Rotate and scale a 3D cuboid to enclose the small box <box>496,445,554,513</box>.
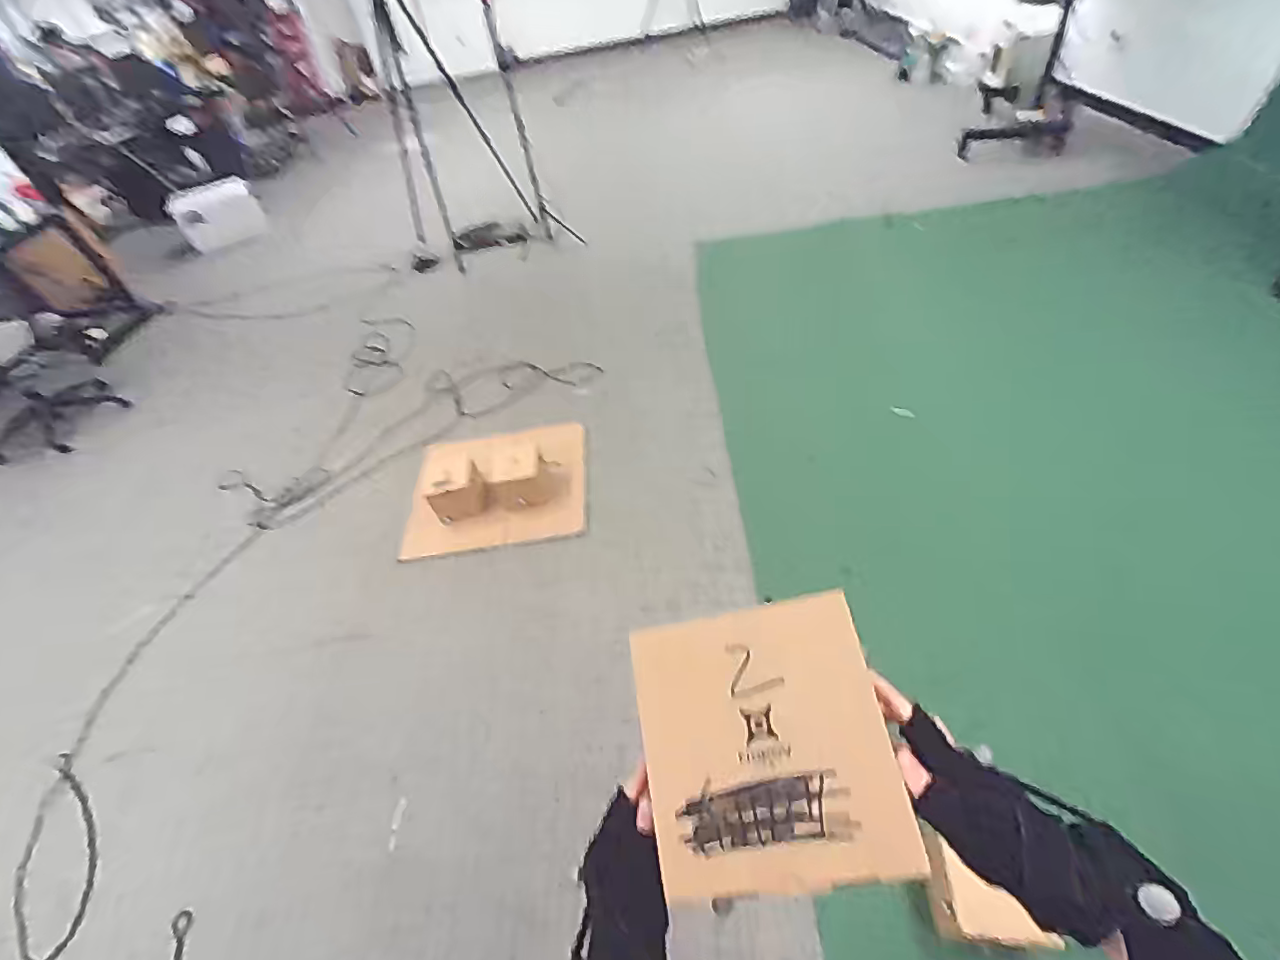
[{"bbox_3d":[-0.427,-0.003,2.035,0.168,0.176,0.179,-10,47,5],"label":"small box"}]

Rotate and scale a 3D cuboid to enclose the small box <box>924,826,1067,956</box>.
[{"bbox_3d":[0.679,0.807,1.062,0.168,0.176,0.179,-1,47,10],"label":"small box"}]

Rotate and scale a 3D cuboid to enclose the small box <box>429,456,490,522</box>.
[{"bbox_3d":[-0.675,0.041,2.042,0.168,0.176,0.179,-12,46,1],"label":"small box"}]
